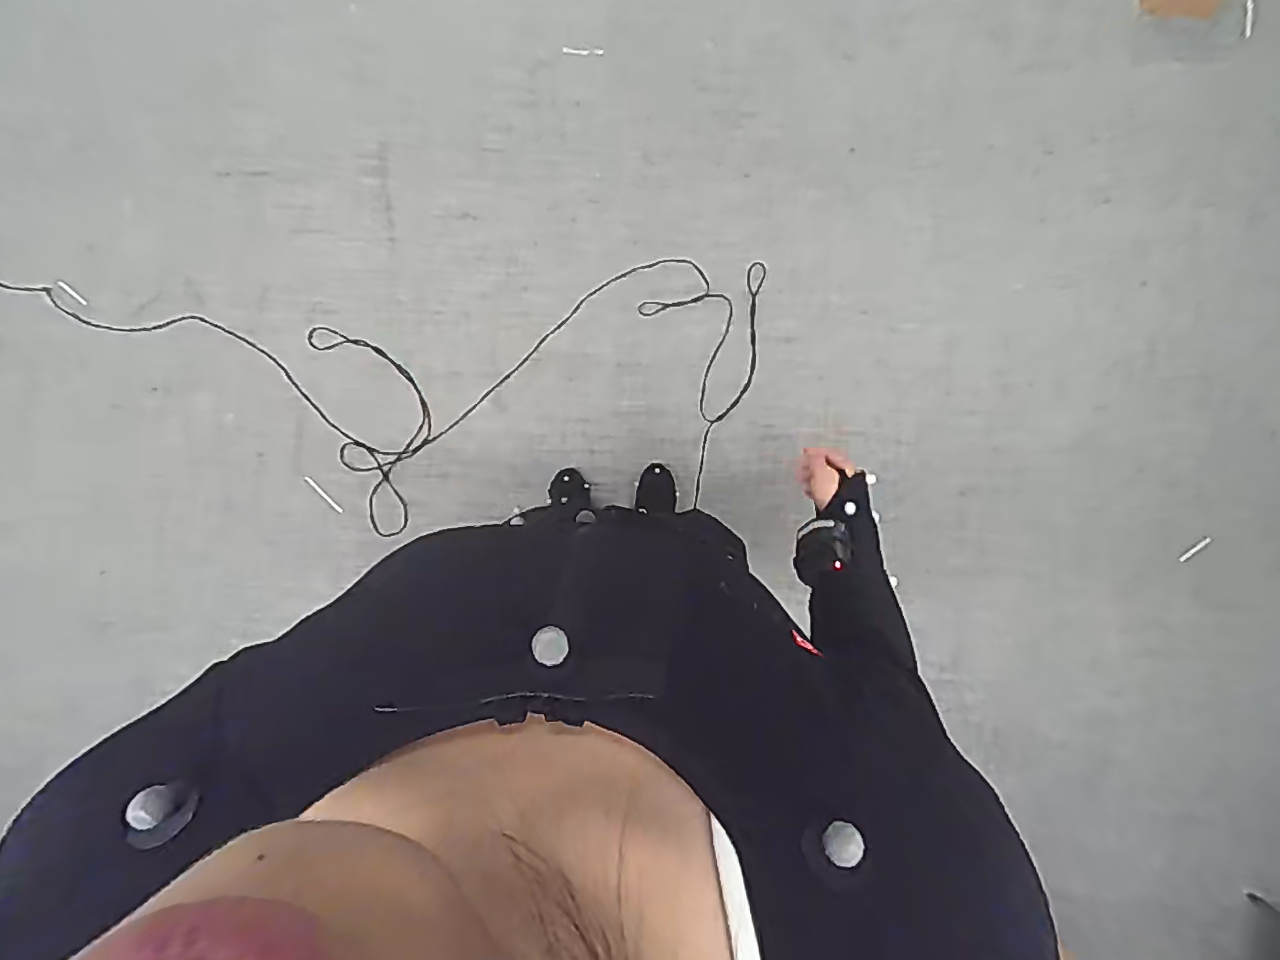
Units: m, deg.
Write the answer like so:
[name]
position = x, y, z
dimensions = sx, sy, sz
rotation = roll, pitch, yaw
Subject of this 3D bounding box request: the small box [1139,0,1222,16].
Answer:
[small box]
position = 1.408, -1.302, 1.338
dimensions = 0.179, 0.176, 0.168
rotation = 7, 92, 0
